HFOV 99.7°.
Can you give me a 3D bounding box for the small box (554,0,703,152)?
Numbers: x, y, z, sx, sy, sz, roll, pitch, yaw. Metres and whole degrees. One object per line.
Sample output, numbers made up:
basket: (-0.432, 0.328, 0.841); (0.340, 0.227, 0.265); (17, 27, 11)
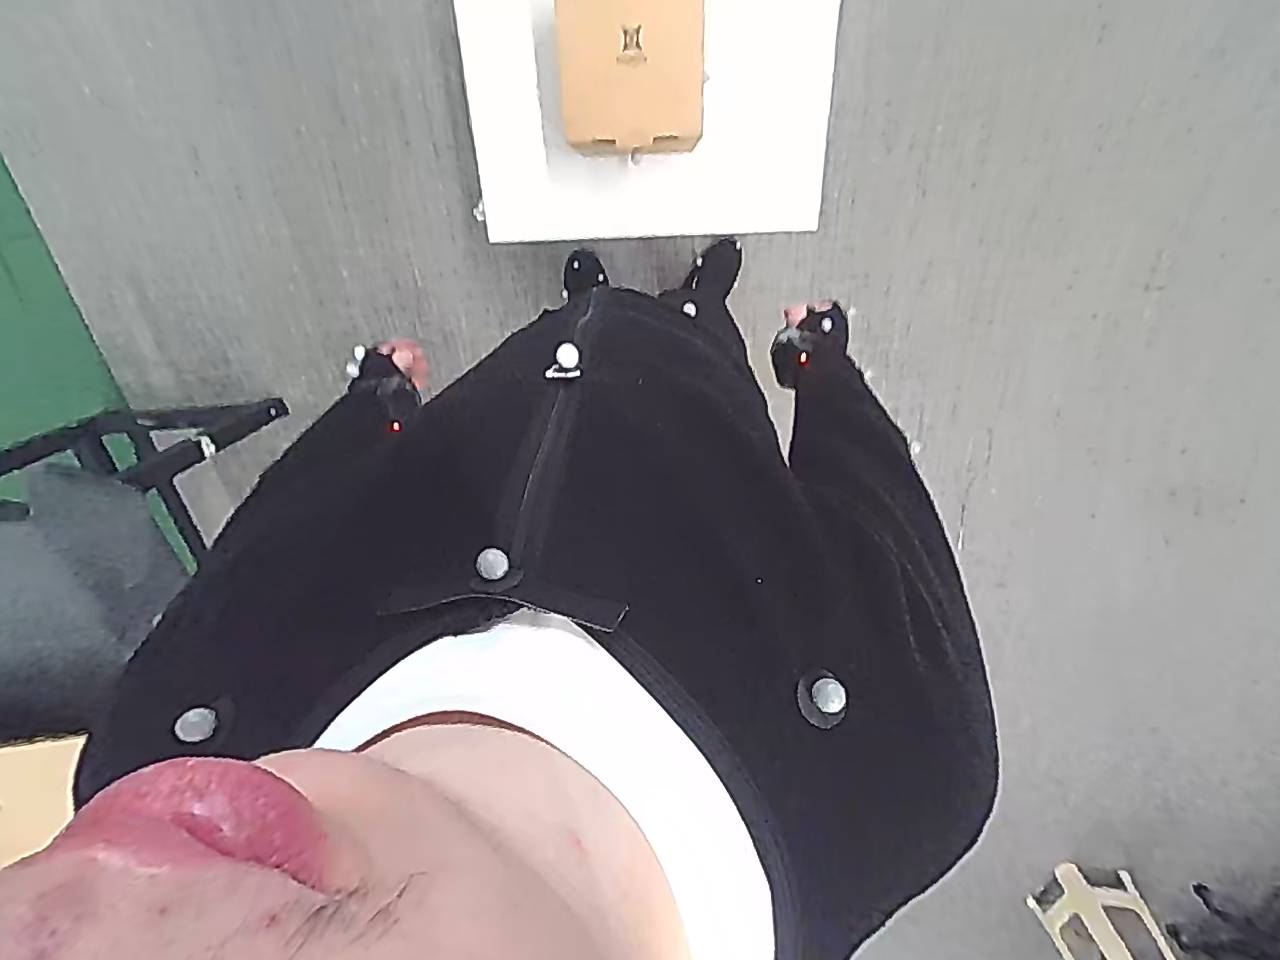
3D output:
small box: (-0.007, -0.521, 0.677); (0.168, 0.176, 0.179); (-3, 115, 3)
